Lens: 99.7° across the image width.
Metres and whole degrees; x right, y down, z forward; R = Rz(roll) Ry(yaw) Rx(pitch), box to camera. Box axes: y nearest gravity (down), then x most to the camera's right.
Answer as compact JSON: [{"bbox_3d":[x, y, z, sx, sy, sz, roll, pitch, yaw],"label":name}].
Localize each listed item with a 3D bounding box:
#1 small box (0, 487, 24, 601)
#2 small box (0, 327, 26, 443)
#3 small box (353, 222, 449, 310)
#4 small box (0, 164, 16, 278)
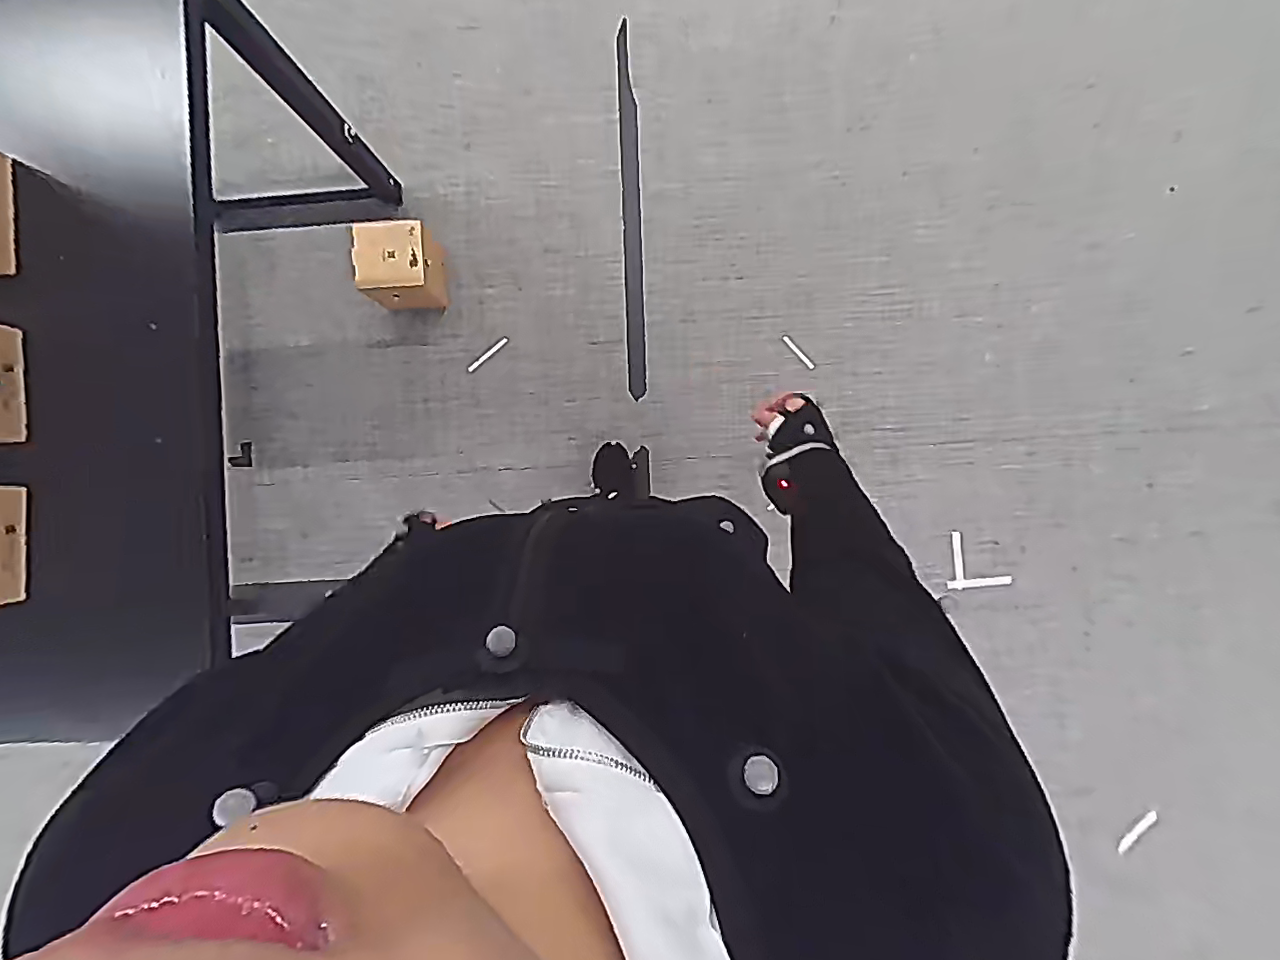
[{"bbox_3d":[-0.978,0.091,0.706,0.179,0.176,0.168,1,89,2],"label":"small box"},{"bbox_3d":[-0.983,-0.134,0.708,0.179,0.176,0.168,-3,90,1],"label":"small box"},{"bbox_3d":[-0.627,-0.557,1.430,0.179,0.176,0.168,-4,90,2],"label":"small box"},{"bbox_3d":[-0.995,-0.382,0.712,0.168,0.176,0.179,-2,91,3],"label":"small box"}]
